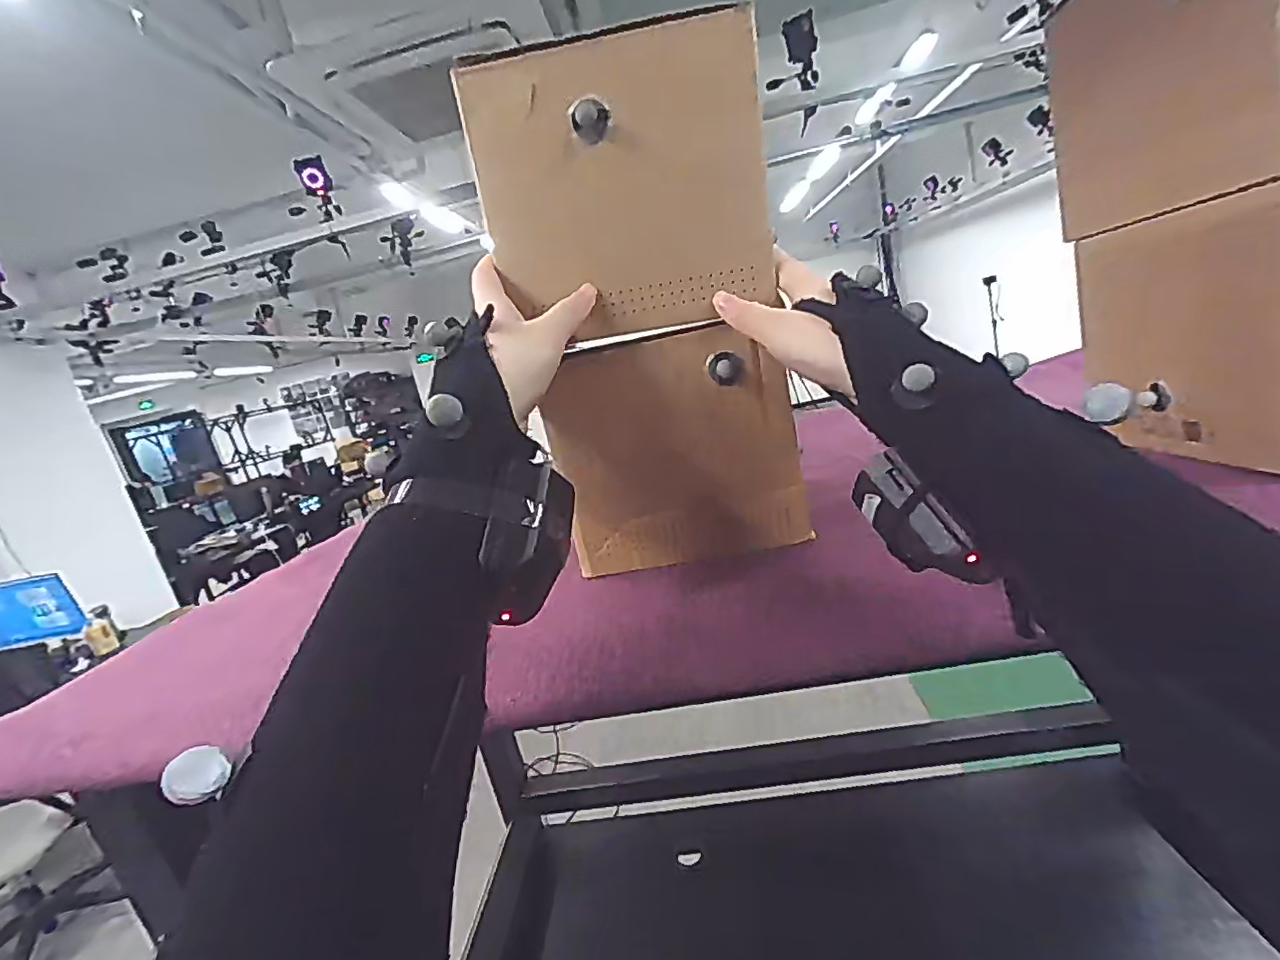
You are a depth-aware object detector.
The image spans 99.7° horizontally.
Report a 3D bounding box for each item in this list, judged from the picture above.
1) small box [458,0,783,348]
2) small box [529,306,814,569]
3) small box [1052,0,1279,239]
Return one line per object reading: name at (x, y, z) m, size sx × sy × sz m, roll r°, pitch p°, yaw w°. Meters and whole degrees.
small box at (-0.003, -0.195, 0.397) m, size 0.179 × 0.176 × 0.168 m, roll -7°, pitch 17°, yaw 5°
small box at (0.032, -0.038, 0.452) m, size 0.179 × 0.176 × 0.168 m, roll -10°, pitch 15°, yaw 8°
small box at (0.400, -0.269, 0.331) m, size 0.168 × 0.176 × 0.179 m, roll -12°, pitch 12°, yaw 9°
